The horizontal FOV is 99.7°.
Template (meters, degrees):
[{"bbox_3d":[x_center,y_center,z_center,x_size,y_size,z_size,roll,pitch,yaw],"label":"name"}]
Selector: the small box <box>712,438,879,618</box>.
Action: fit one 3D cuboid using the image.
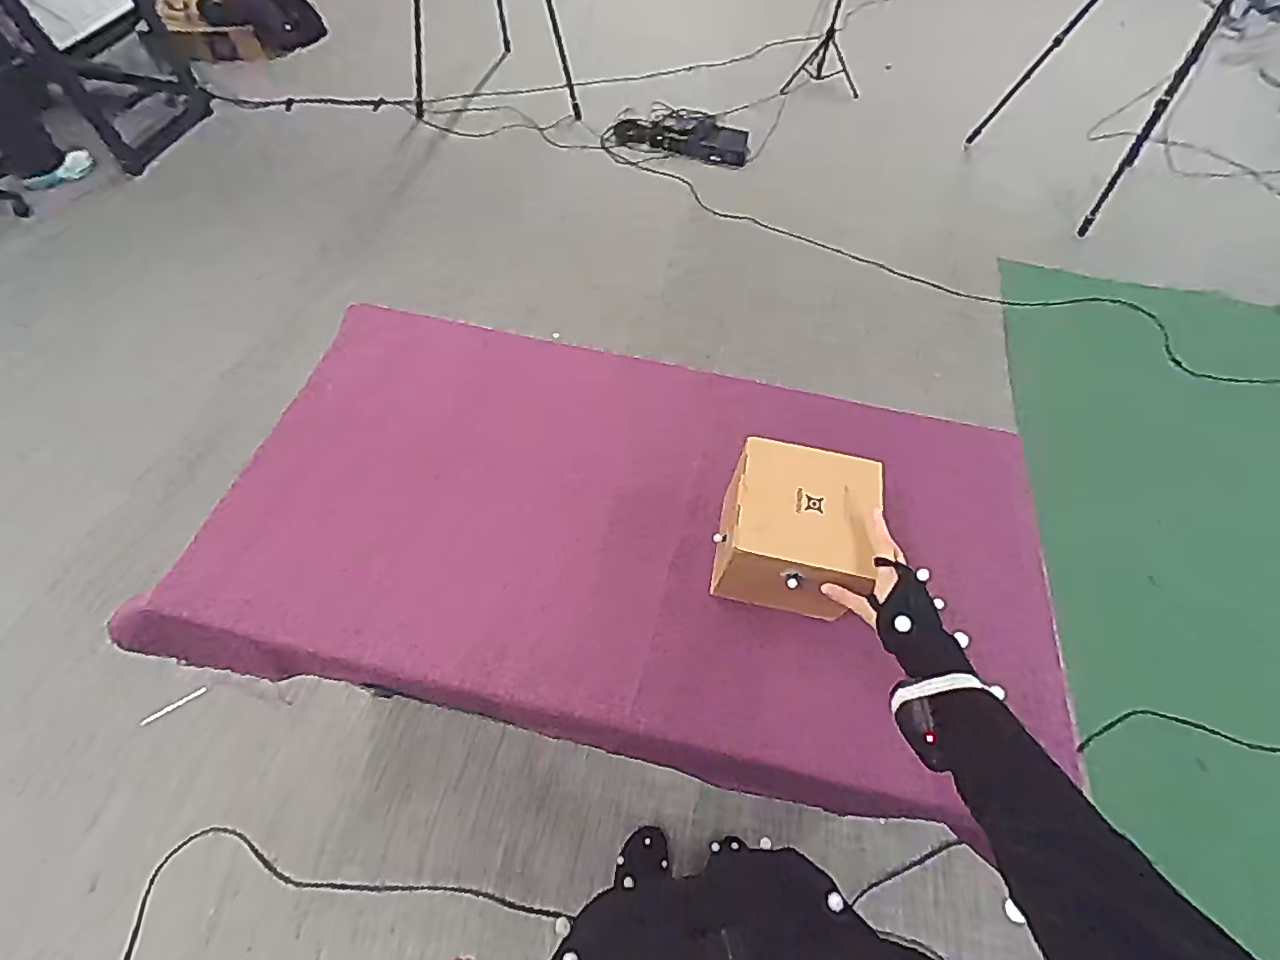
[{"bbox_3d":[0.201,0.071,0.727,0.179,0.176,0.168,12,59,4],"label":"small box"}]
